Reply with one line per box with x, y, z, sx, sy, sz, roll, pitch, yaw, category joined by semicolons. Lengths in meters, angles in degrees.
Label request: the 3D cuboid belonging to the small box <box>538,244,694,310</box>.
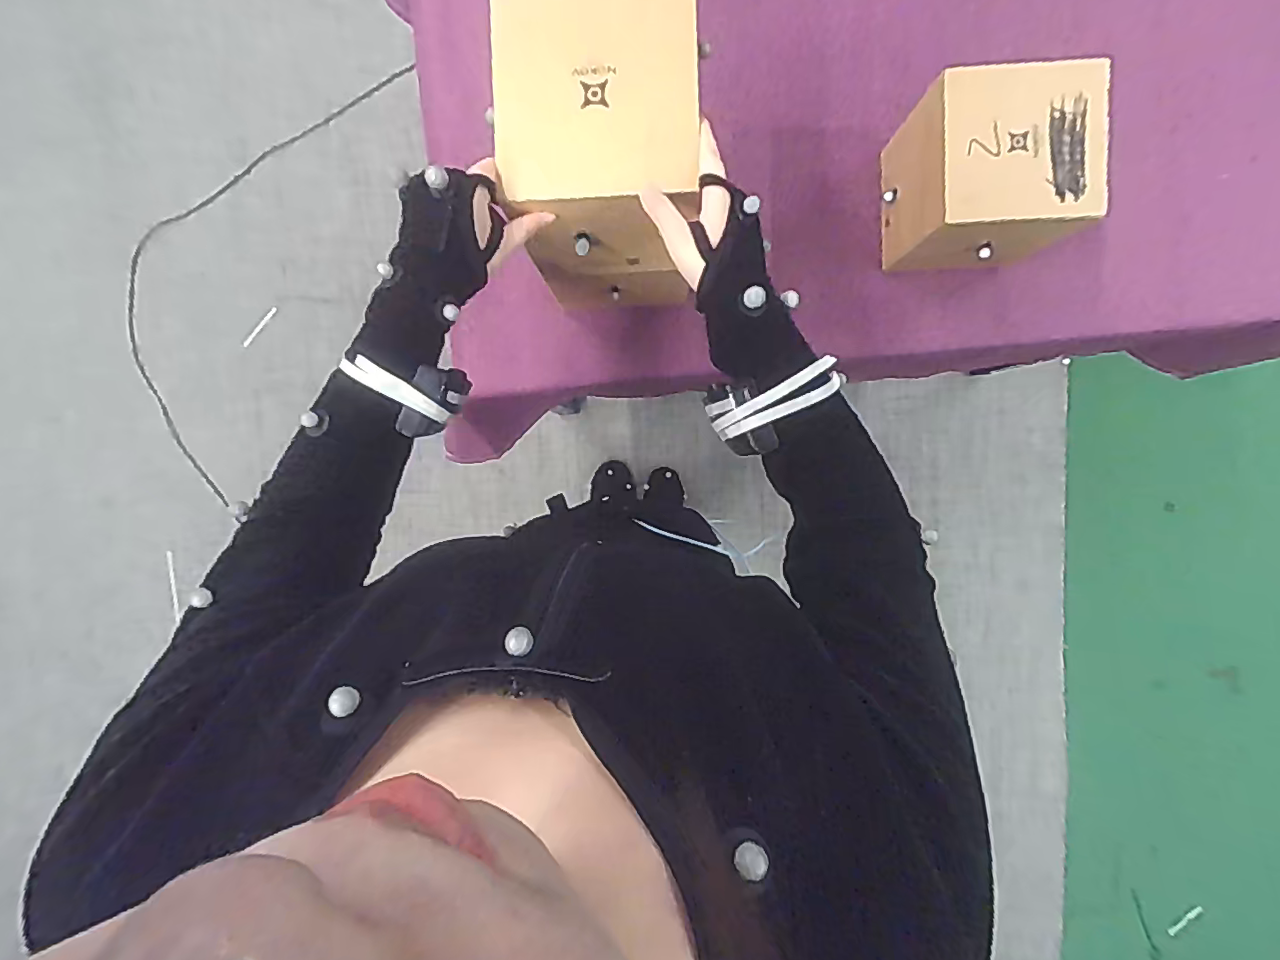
-0.029;-0.319;0.678;0.179;0.176;0.168;-3;93;2;small box

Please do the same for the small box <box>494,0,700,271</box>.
-0.031;-0.309;0.512;0.168;0.176;0.179;-2;90;2;small box
